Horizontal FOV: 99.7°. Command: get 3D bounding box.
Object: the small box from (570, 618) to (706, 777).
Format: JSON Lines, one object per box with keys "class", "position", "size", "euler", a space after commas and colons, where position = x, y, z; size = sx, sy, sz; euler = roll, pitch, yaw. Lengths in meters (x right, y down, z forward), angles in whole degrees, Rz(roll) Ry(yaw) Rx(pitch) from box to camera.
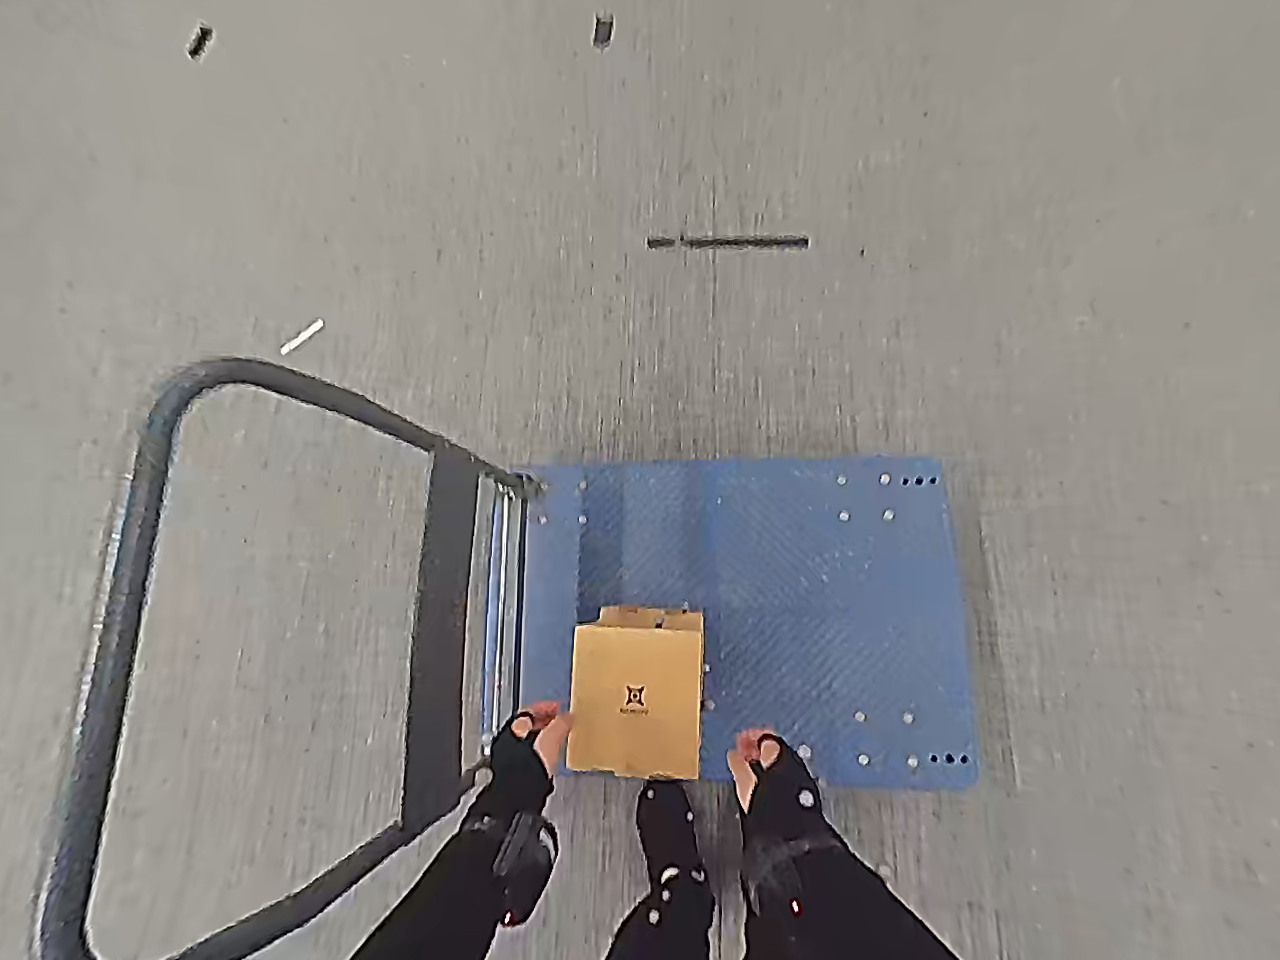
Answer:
{"class": "small box", "position": [0.006, 0.287, 0.752], "size": [0.168, 0.176, 0.179], "euler": [1, 79, 6]}
